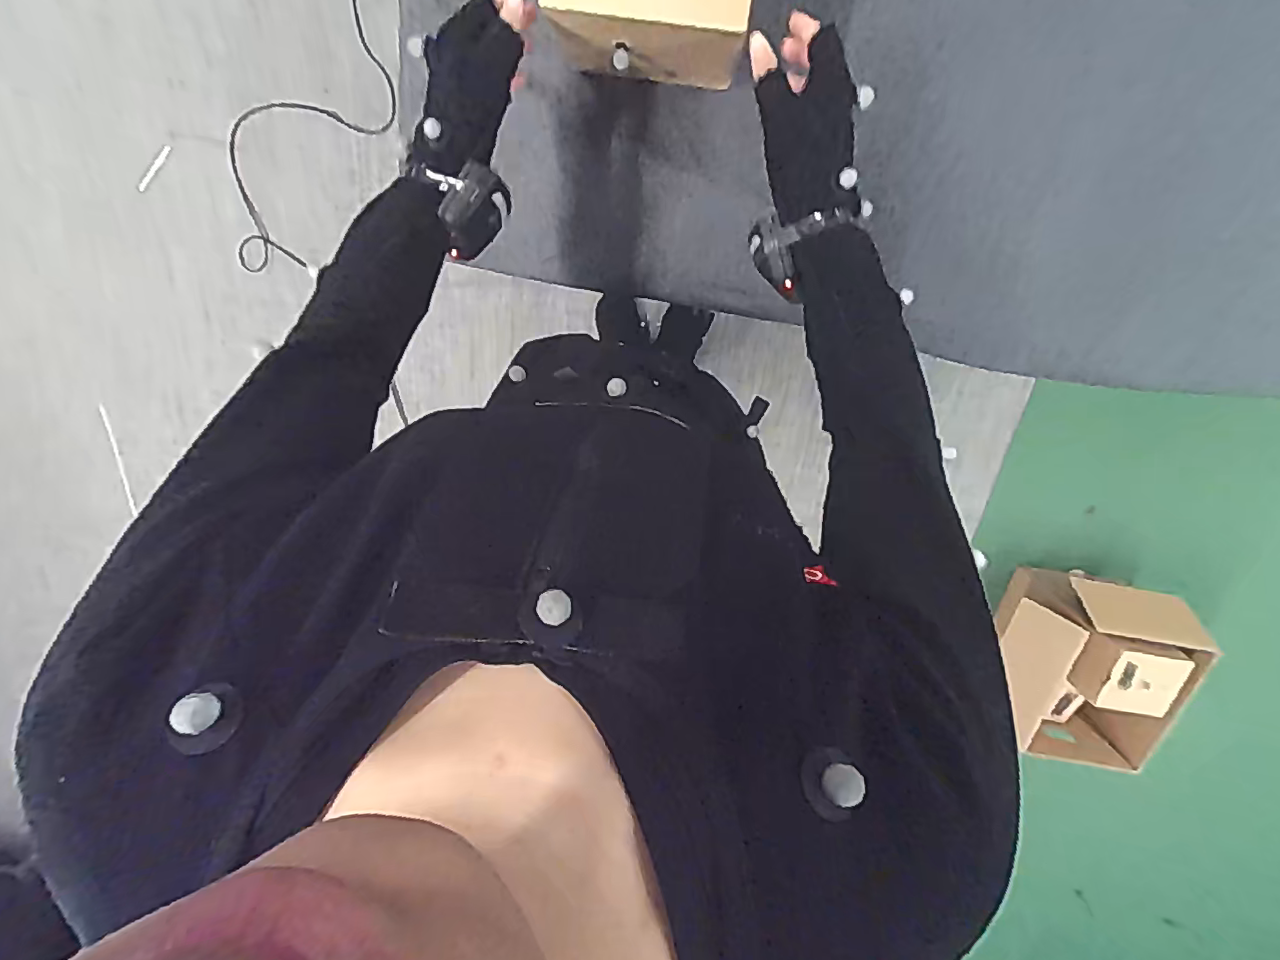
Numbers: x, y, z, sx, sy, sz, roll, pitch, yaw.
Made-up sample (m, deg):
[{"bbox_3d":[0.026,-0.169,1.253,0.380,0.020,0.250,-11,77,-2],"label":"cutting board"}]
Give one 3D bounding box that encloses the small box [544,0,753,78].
[{"bbox_3d":[0.021,-0.468,0.455,0.168,0.176,0.179,7,114,1],"label":"small box"}]
